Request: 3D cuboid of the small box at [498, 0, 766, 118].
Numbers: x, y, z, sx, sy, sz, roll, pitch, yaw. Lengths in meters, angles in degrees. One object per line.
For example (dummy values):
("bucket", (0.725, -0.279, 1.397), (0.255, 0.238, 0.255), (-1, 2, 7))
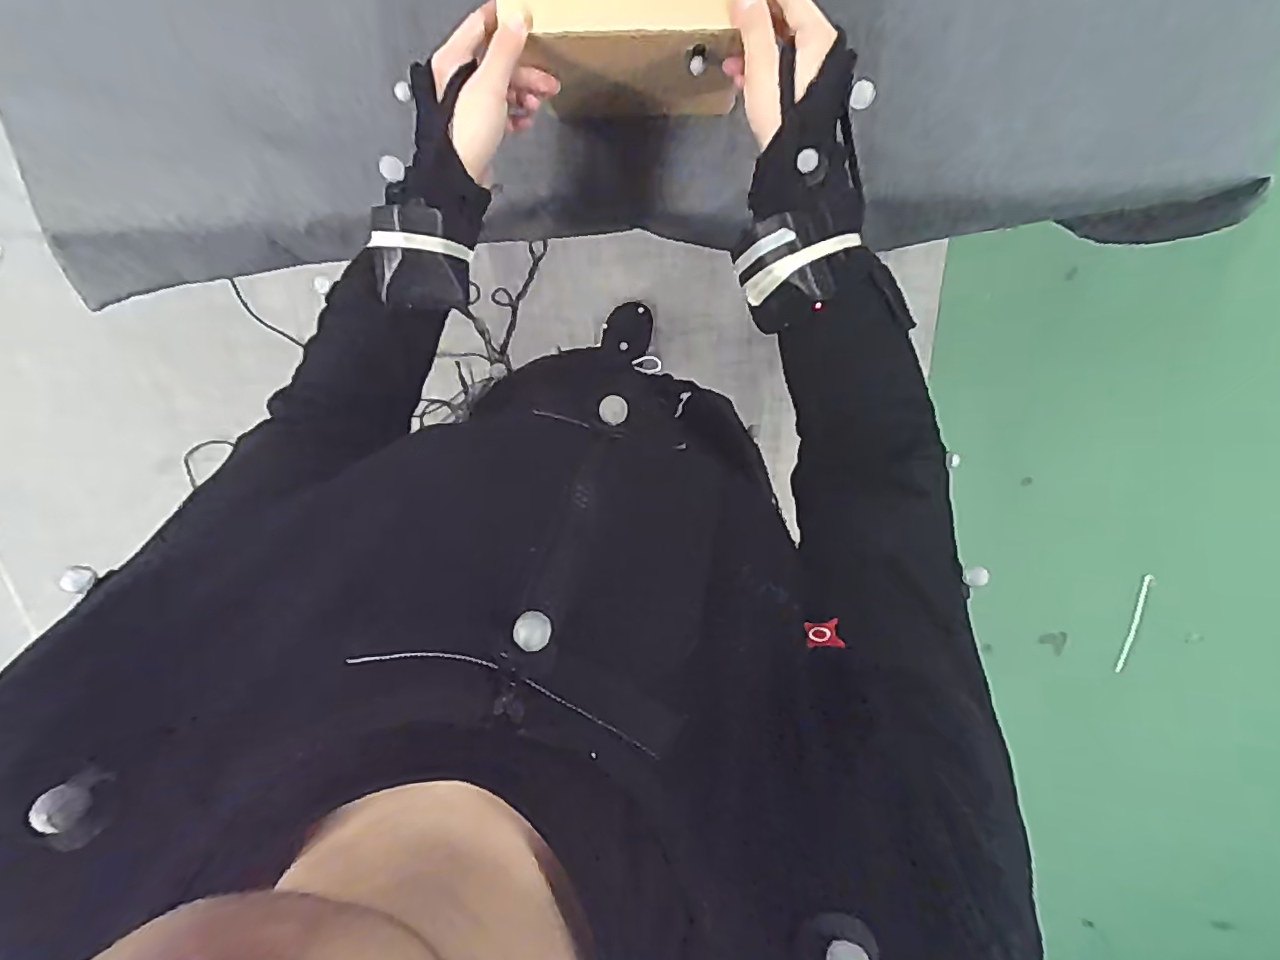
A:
("small box", (-0.004, -0.393, 0.407), (0.179, 0.176, 0.168), (-1, 108, 1))
